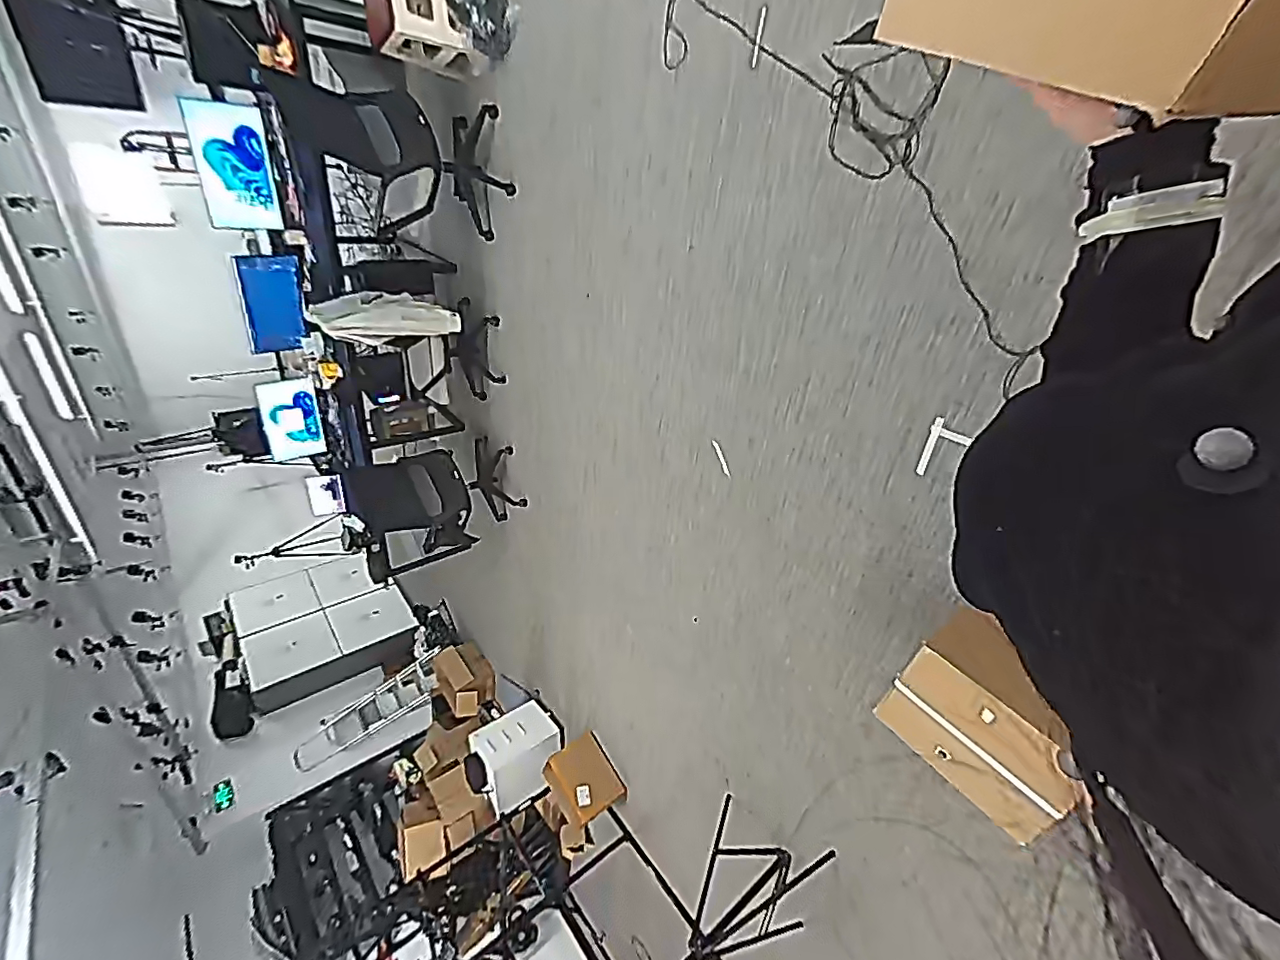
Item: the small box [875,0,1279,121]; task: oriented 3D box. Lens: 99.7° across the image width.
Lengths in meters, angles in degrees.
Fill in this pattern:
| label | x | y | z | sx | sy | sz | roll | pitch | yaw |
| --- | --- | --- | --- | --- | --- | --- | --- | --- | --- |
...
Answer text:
| label | x | y | z | sx | sy | sz | roll | pitch | yaw |
| --- | --- | --- | --- | --- | --- | --- | --- | --- | --- |
| small box | 0.268 | -0.299 | 0.269 | 0.179 | 0.176 | 0.168 | 51 | 147 | 34 |
